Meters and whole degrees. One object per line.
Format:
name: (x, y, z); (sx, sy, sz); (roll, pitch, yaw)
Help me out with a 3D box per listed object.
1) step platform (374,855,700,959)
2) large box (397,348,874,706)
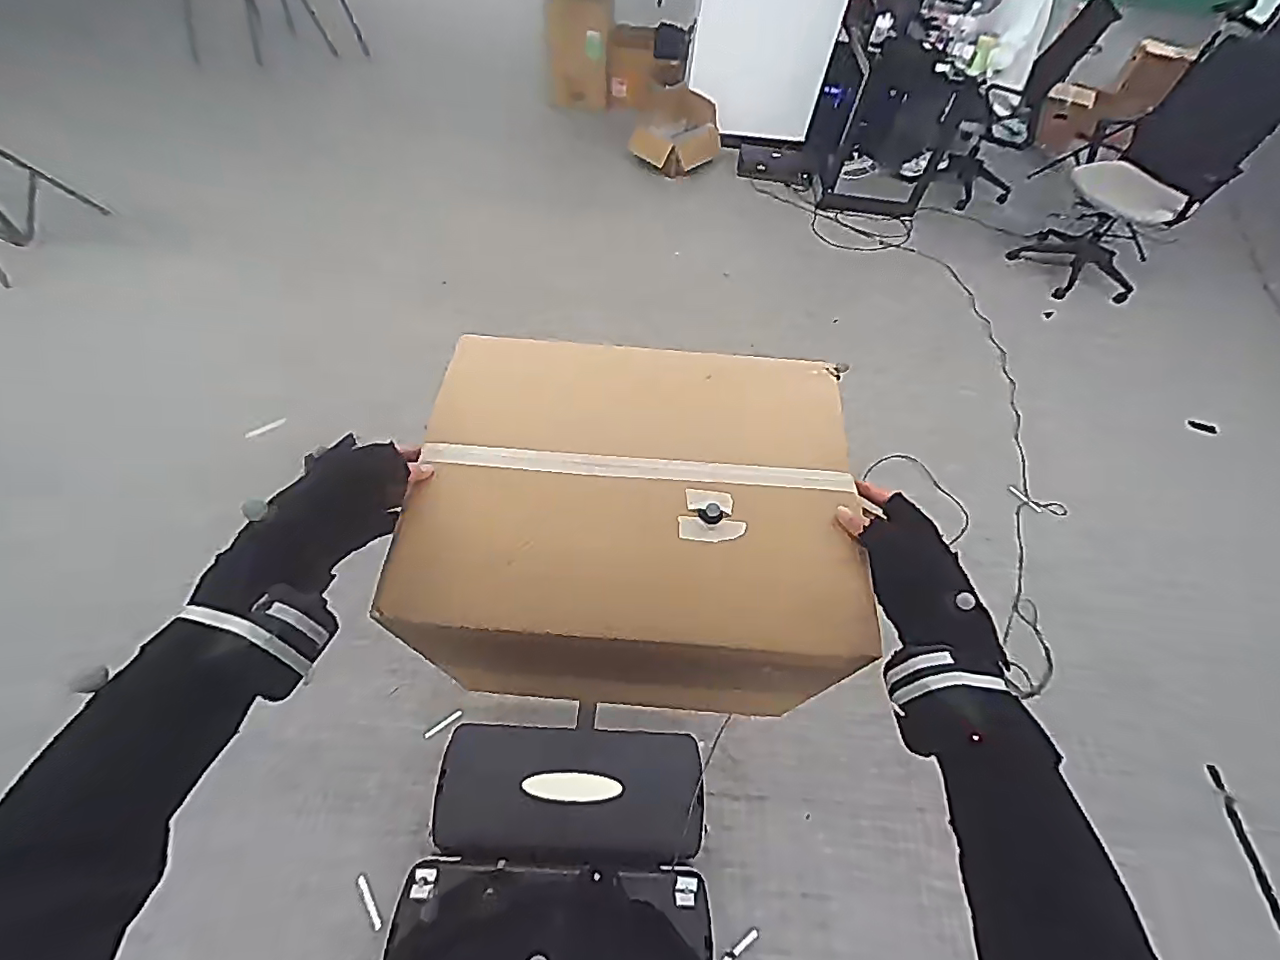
step platform: (-0.210, 1.004, 1.182); (0.684, 0.204, 0.286); (3, 55, -2)
large box: (-0.004, 0.073, 0.645); (0.408, 0.320, 0.320); (4, 59, 0)
